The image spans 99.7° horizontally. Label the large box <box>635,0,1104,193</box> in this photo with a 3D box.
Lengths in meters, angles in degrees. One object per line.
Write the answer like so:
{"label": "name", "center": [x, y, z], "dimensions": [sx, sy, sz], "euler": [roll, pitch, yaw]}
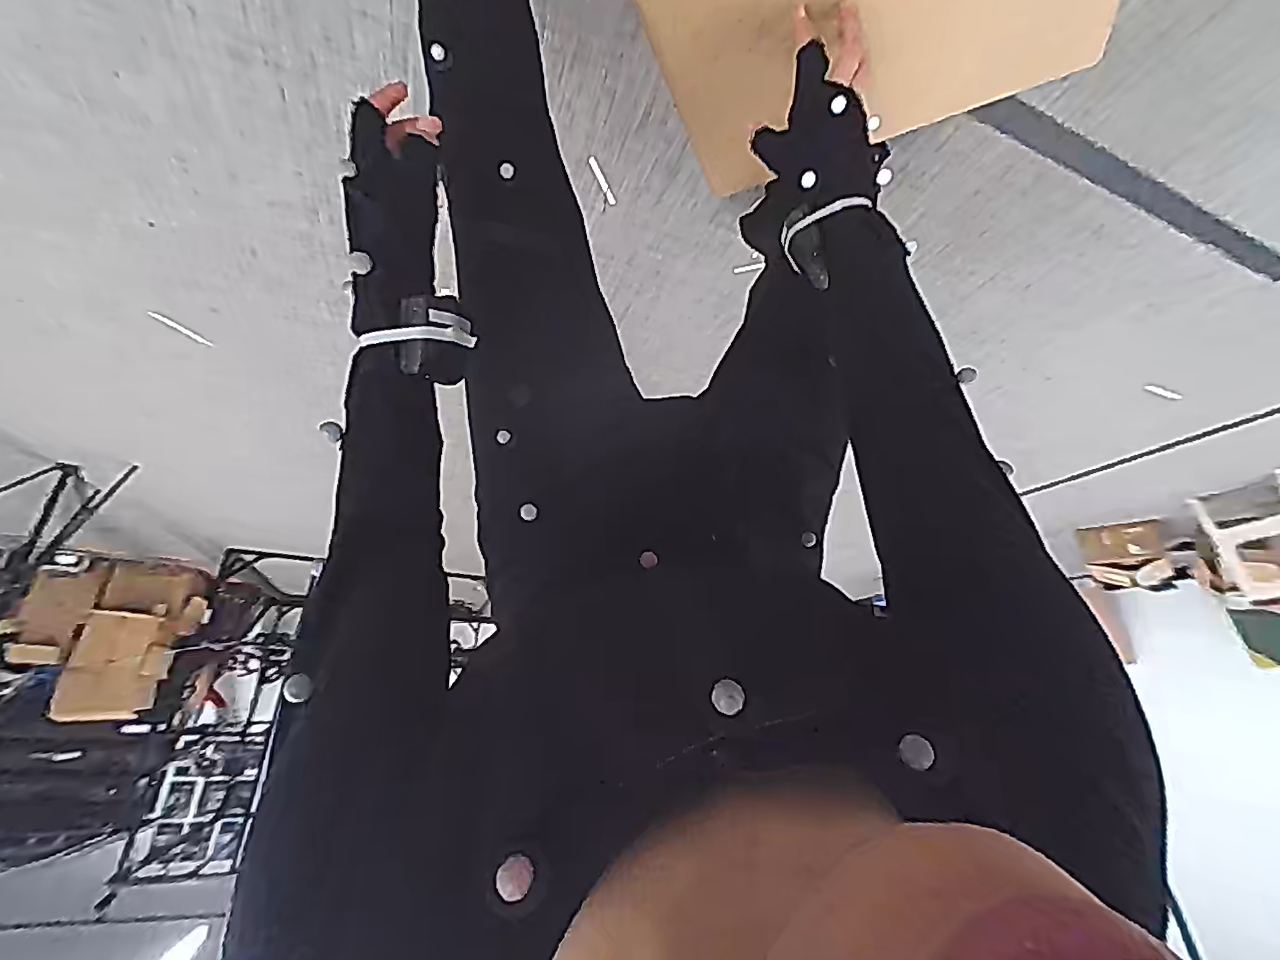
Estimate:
{"label": "large box", "center": [0.212, -0.581, 0.549], "dimensions": [0.408, 0.320, 0.320], "euler": [-8, 158, 24]}
